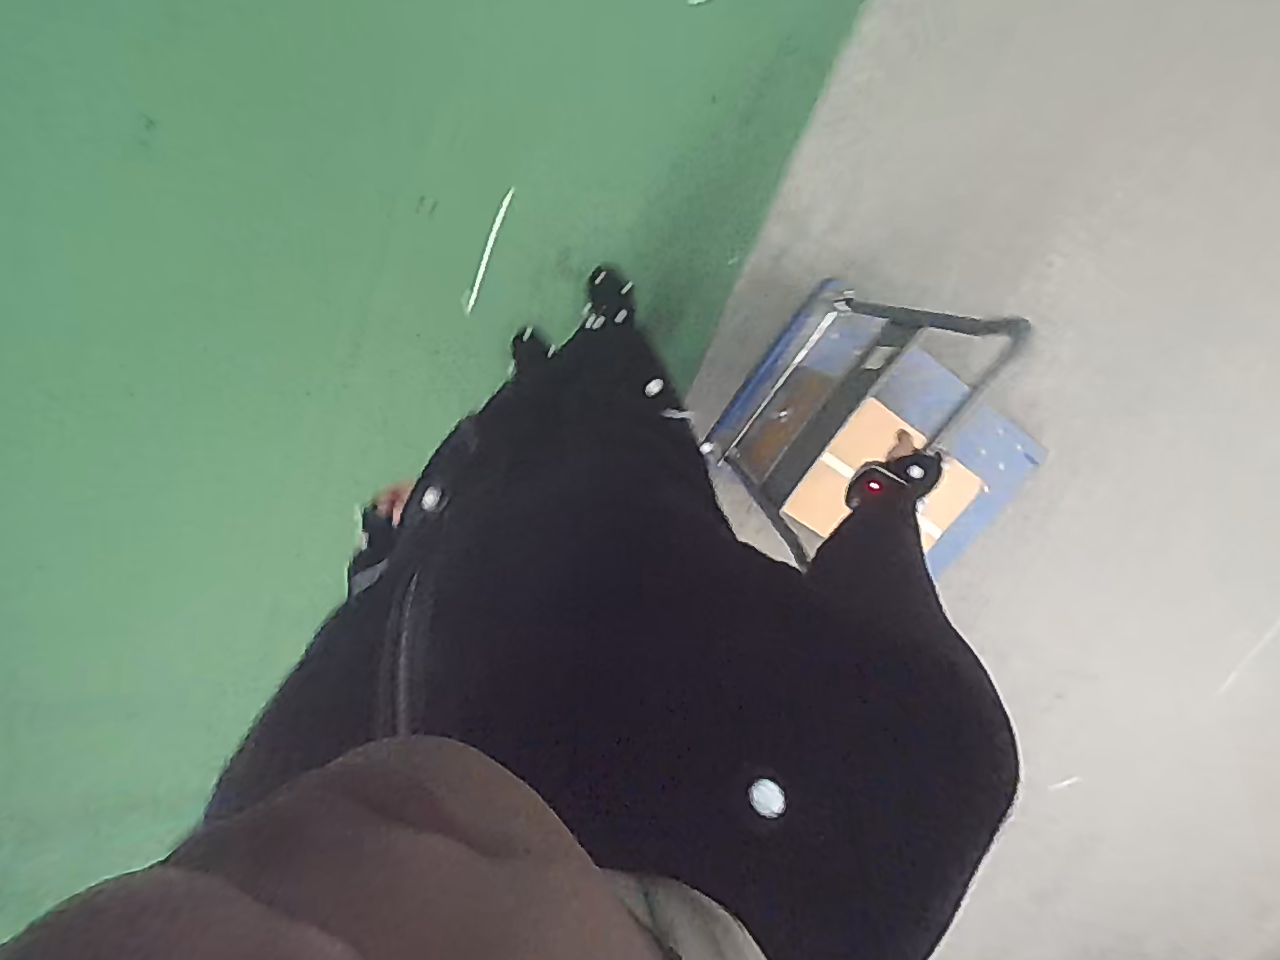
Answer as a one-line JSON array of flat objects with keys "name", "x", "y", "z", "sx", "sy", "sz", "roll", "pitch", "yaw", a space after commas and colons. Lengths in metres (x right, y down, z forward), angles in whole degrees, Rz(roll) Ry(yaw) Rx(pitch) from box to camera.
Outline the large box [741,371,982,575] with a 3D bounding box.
[{"name": "large box", "x": 0.533, "y": -0.032, "z": 1.378, "sx": 0.408, "sy": 0.320, "sz": 0.320, "roll": 30, "pitch": 105, "yaw": -15}]
